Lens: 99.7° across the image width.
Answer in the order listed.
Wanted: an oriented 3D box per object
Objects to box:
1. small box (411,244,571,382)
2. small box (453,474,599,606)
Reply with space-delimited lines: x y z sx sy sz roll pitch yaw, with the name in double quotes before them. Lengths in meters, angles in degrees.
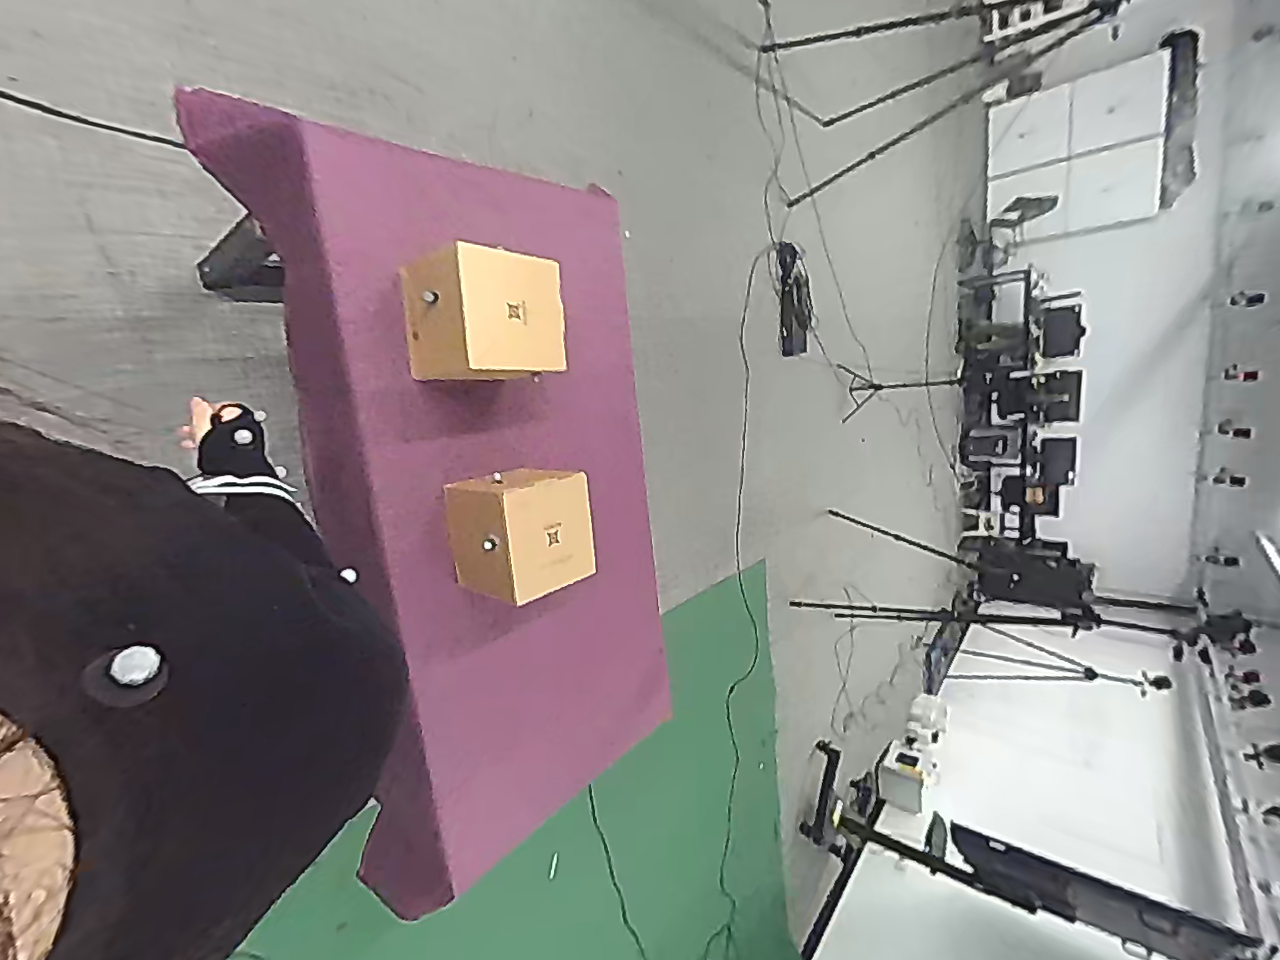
"small box" -0.230 -0.240 0.823 0.179 0.176 0.168 -12 102 -48
"small box" -0.189 0.086 0.889 0.168 0.176 0.179 -14 104 -47
